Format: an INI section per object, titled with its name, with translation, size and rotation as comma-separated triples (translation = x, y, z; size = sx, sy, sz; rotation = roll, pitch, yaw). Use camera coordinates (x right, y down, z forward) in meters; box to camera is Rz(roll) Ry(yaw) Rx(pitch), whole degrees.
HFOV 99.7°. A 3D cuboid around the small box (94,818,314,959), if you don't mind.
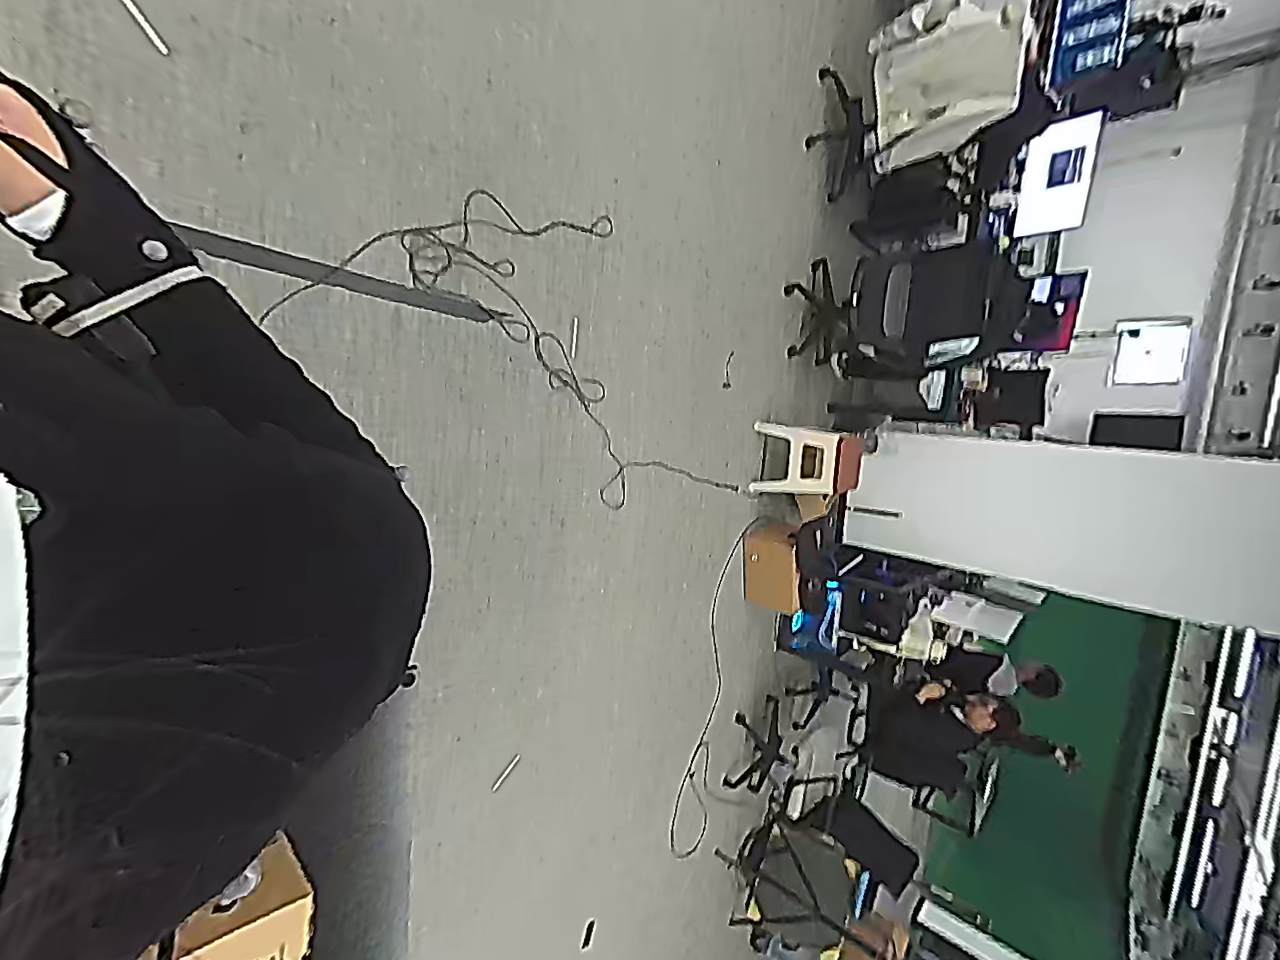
[small box]
translation = -0.508, 0.544, 0.632
size = 0.179, 0.176, 0.168
rotation = 0, 98, -47
